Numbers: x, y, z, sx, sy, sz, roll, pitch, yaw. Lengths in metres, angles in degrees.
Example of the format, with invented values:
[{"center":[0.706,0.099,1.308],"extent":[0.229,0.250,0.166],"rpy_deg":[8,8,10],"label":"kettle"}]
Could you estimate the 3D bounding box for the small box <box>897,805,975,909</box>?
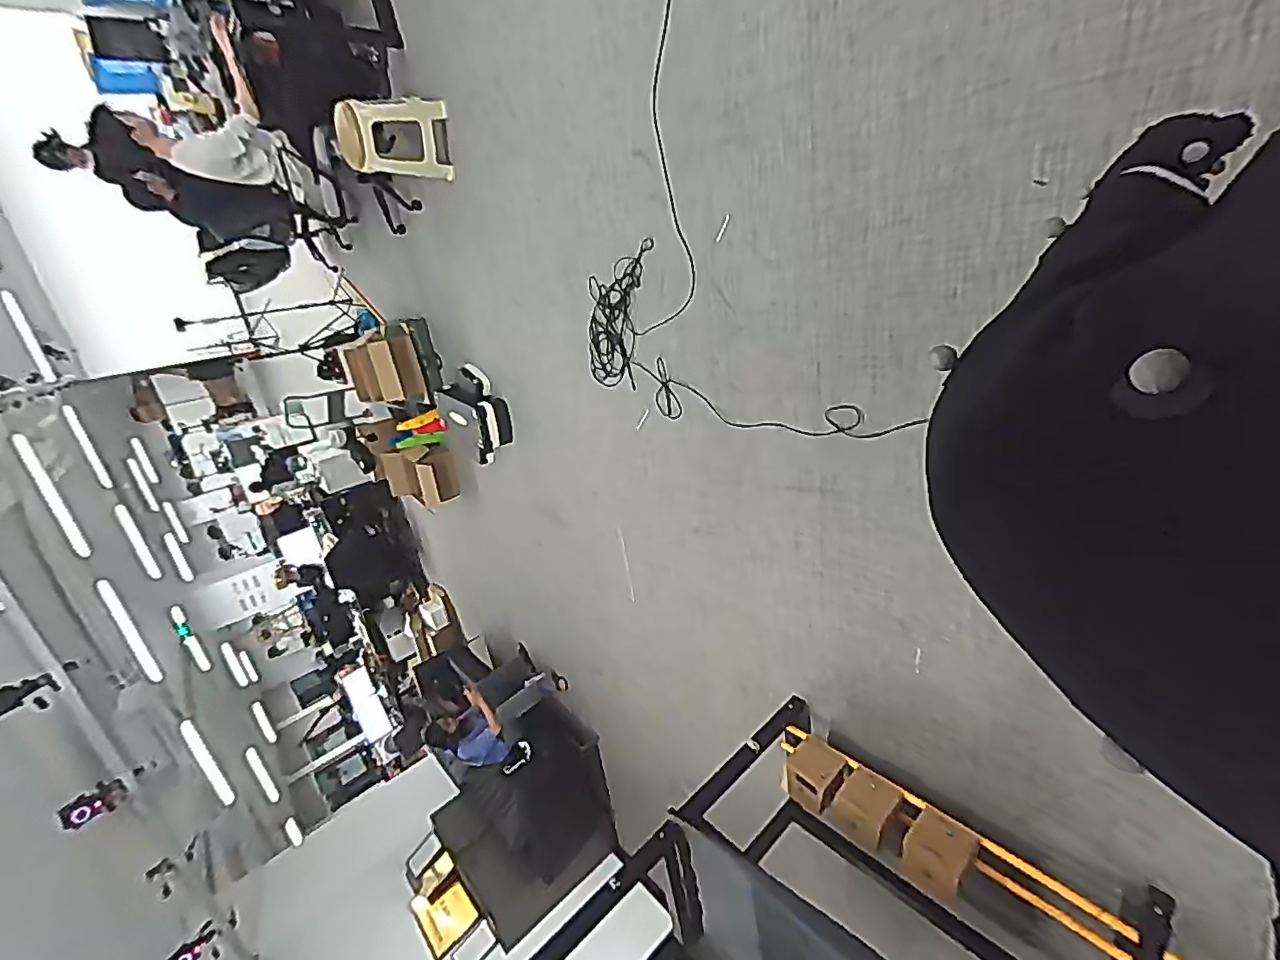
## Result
[{"center":[0.954,1.207,1.741],"extent":[0.168,0.176,0.179],"rpy_deg":[18,121,48],"label":"small box"}]
